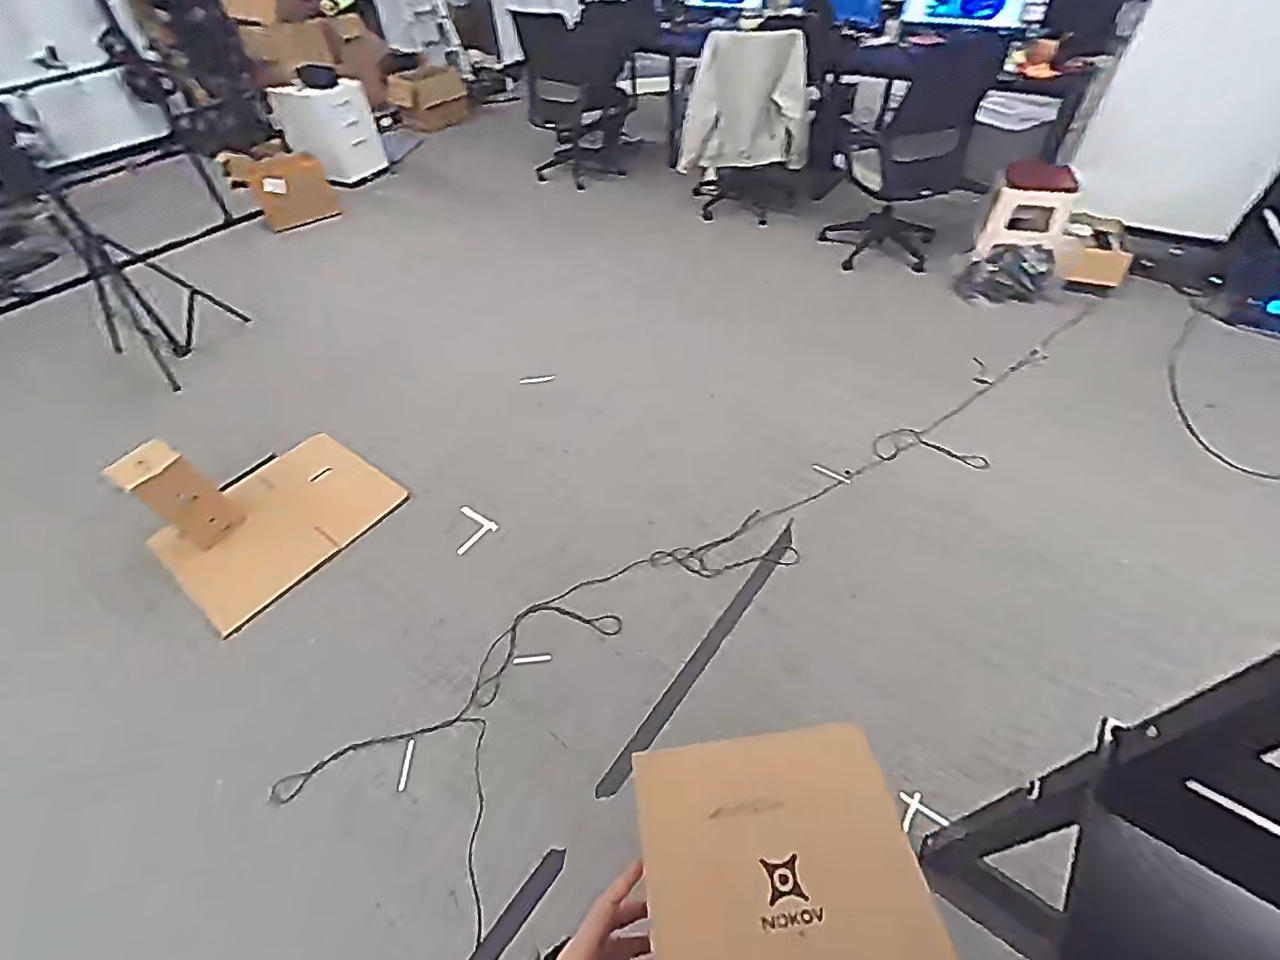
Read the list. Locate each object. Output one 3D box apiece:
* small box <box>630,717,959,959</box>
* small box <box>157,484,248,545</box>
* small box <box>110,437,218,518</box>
[{"bbox_3d":[0.086,0.292,0.368,0.168,0.176,0.179,-6,42,-5],"label":"small box"},{"bbox_3d":[-1.523,0.102,1.878,0.179,0.176,0.168,22,54,21],"label":"small box"},{"bbox_3d":[-1.536,-0.005,1.754,0.179,0.176,0.168,23,55,23],"label":"small box"}]
